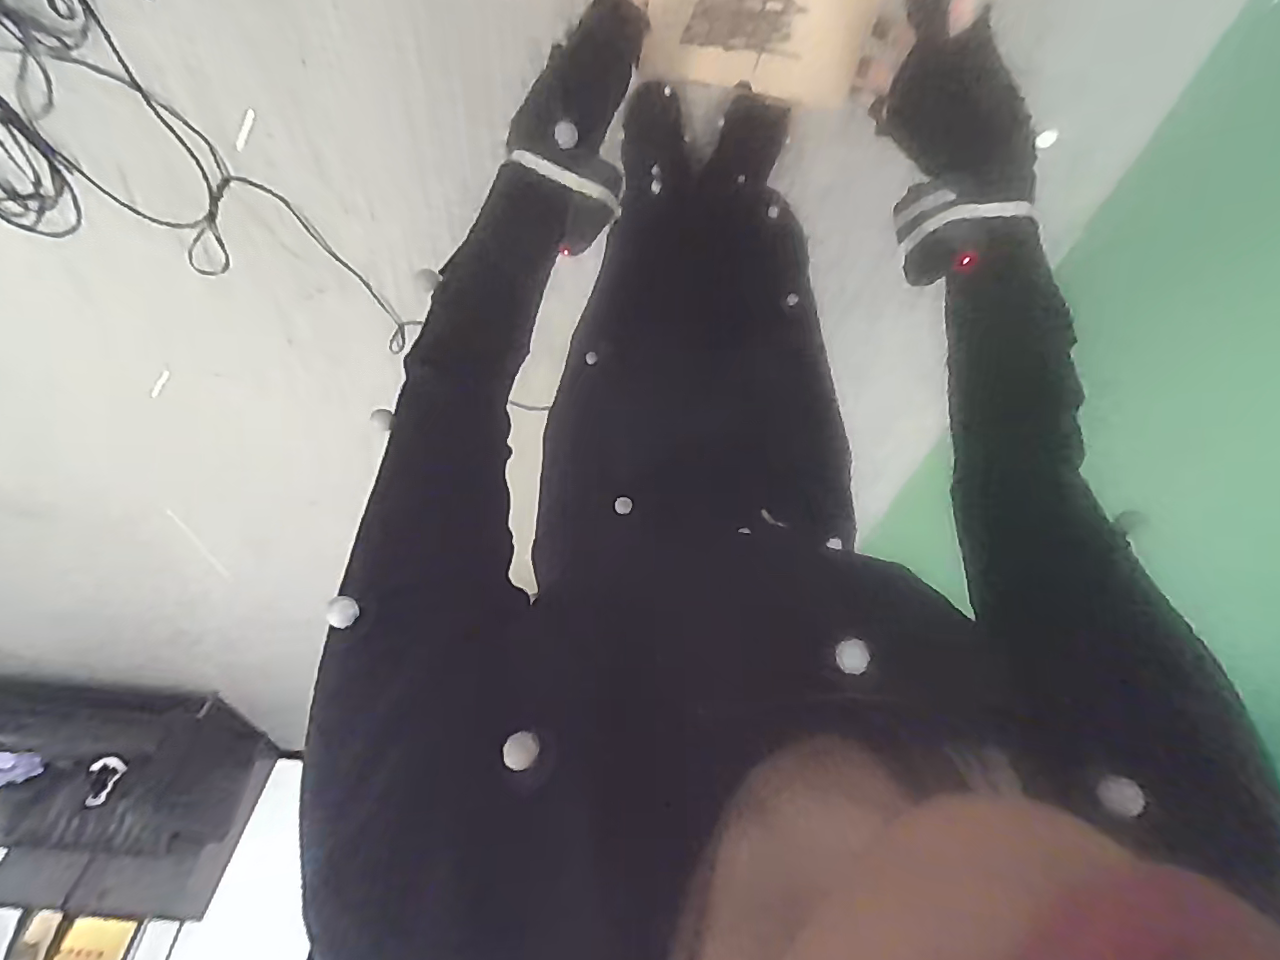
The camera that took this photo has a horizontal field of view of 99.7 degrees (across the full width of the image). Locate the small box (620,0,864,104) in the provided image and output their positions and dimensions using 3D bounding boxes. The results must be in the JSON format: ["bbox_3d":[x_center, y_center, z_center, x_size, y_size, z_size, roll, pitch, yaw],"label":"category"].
[{"bbox_3d":[0.078,-0.419,0.402,0.168,0.176,0.179,4,138,-10],"label":"small box"}]
